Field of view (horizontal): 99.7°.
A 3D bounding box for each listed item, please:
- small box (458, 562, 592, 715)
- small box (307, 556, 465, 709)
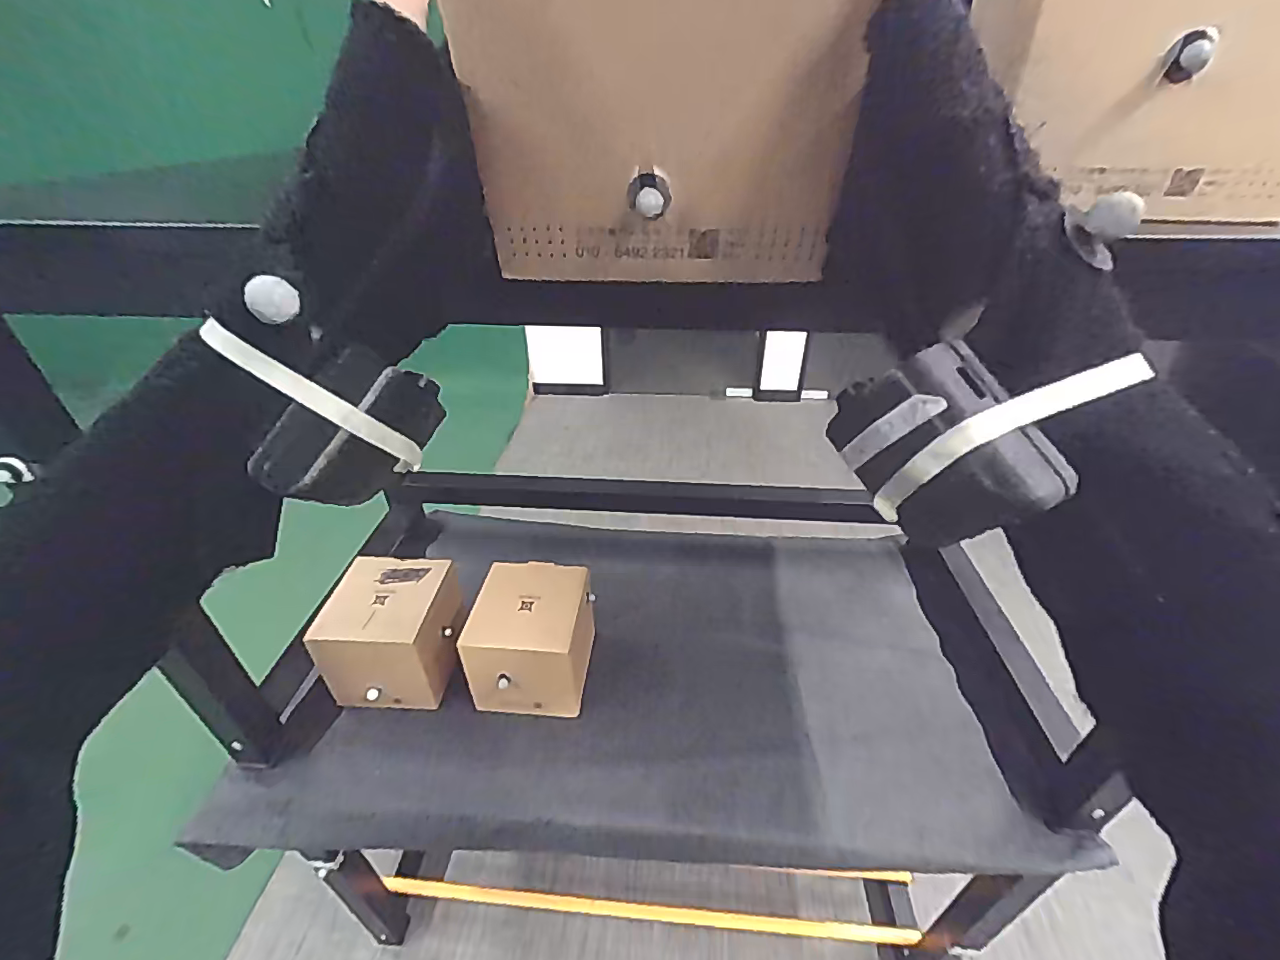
[{"bbox_3d":[-0.172,0.256,0.879,0.168,0.176,0.179,3,34,4],"label":"small box"},{"bbox_3d":[-0.399,0.247,0.889,0.168,0.176,0.179,1,35,2],"label":"small box"}]
